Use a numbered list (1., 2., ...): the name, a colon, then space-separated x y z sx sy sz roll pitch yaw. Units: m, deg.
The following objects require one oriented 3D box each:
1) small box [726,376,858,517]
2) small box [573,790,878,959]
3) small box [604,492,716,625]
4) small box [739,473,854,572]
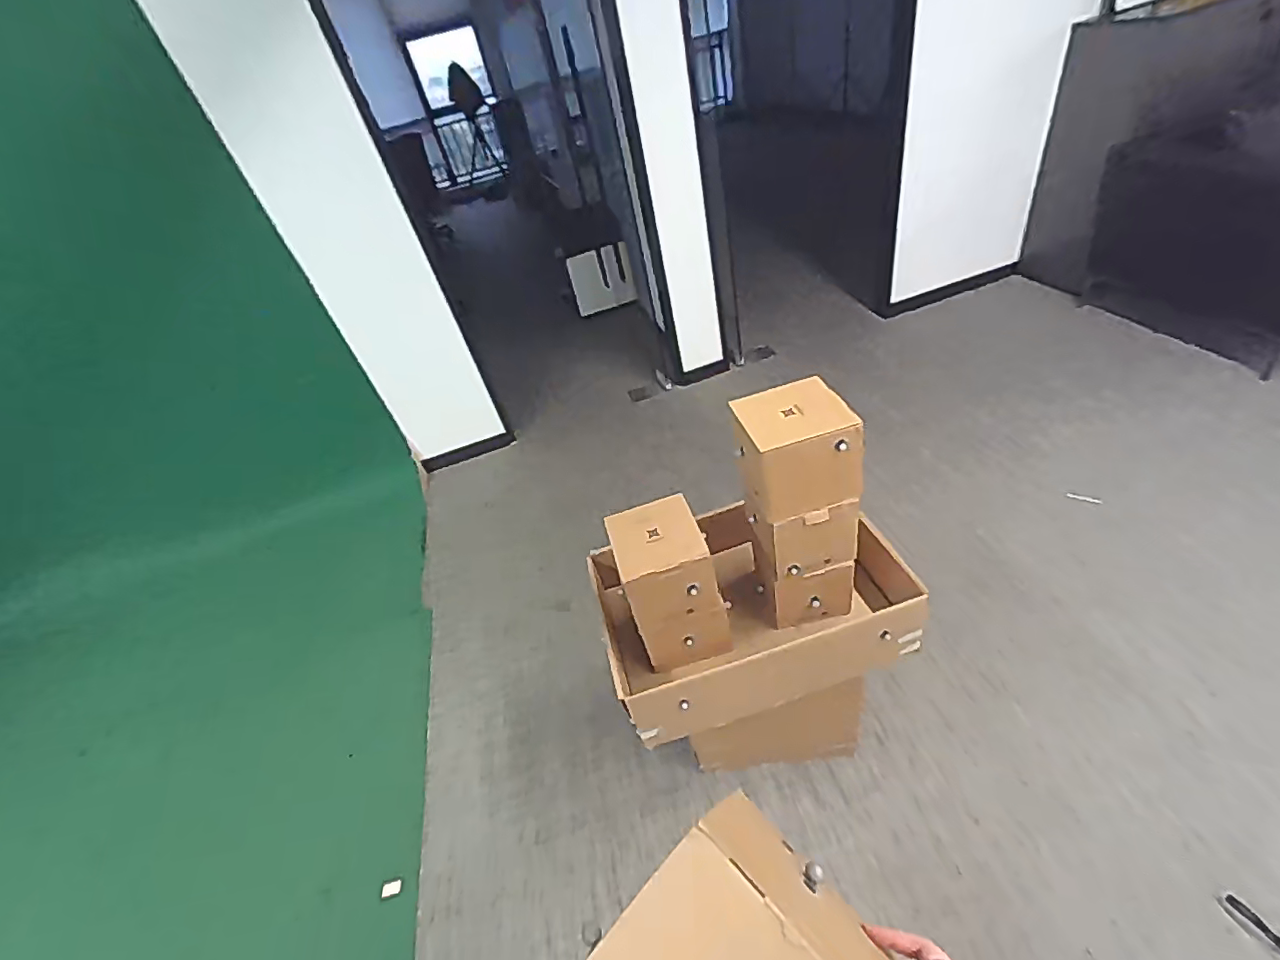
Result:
1. small box: 0.272 -0.057 0.977 0.179 0.176 0.168 -16 40 -2
2. small box: 0.066 0.372 0.407 0.168 0.176 0.179 39 86 28
3. small box: 0.040 0.159 1.055 0.168 0.176 0.179 -17 40 -3
4. small box: 0.310 0.063 1.080 0.168 0.176 0.179 -16 40 -1
